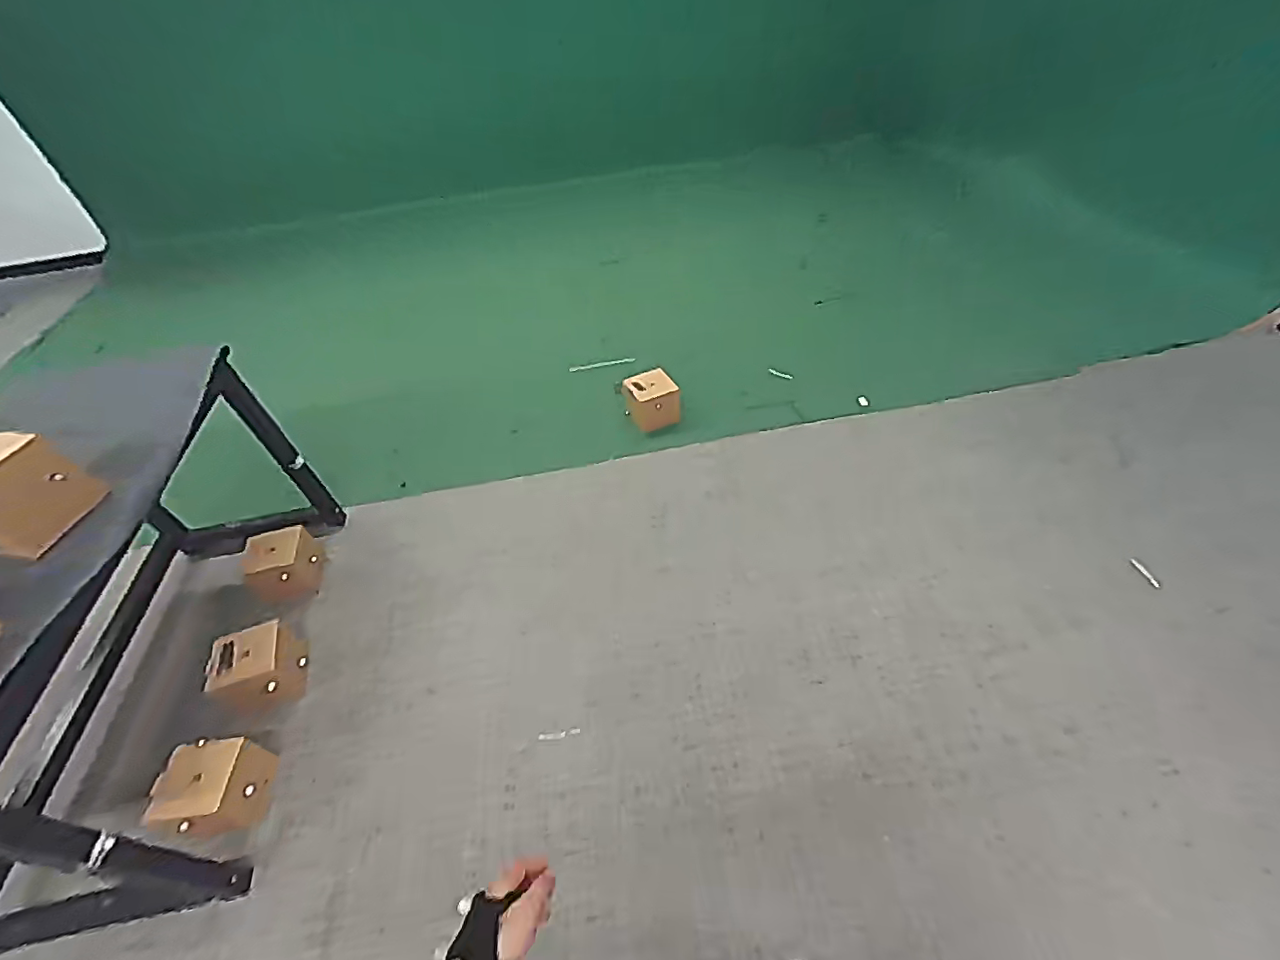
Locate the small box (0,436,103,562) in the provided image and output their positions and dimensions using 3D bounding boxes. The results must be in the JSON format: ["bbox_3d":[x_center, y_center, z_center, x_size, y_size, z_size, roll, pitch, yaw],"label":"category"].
[{"bbox_3d":[-1.208,0.034,1.040,0.168,0.176,0.179,2,49,13],"label":"small box"}]

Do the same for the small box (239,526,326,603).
[{"bbox_3d":[-1.179,0.283,1.801,0.179,0.176,0.168,-15,47,-7],"label":"small box"}]

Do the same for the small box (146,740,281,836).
[{"bbox_3d":[-1.040,0.765,1.341,0.179,0.176,0.168,-8,47,0],"label":"small box"}]

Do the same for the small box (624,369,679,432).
[{"bbox_3d":[0.051,-0.322,2.217,0.179,0.176,0.168,-22,49,-15],"label":"small box"}]
